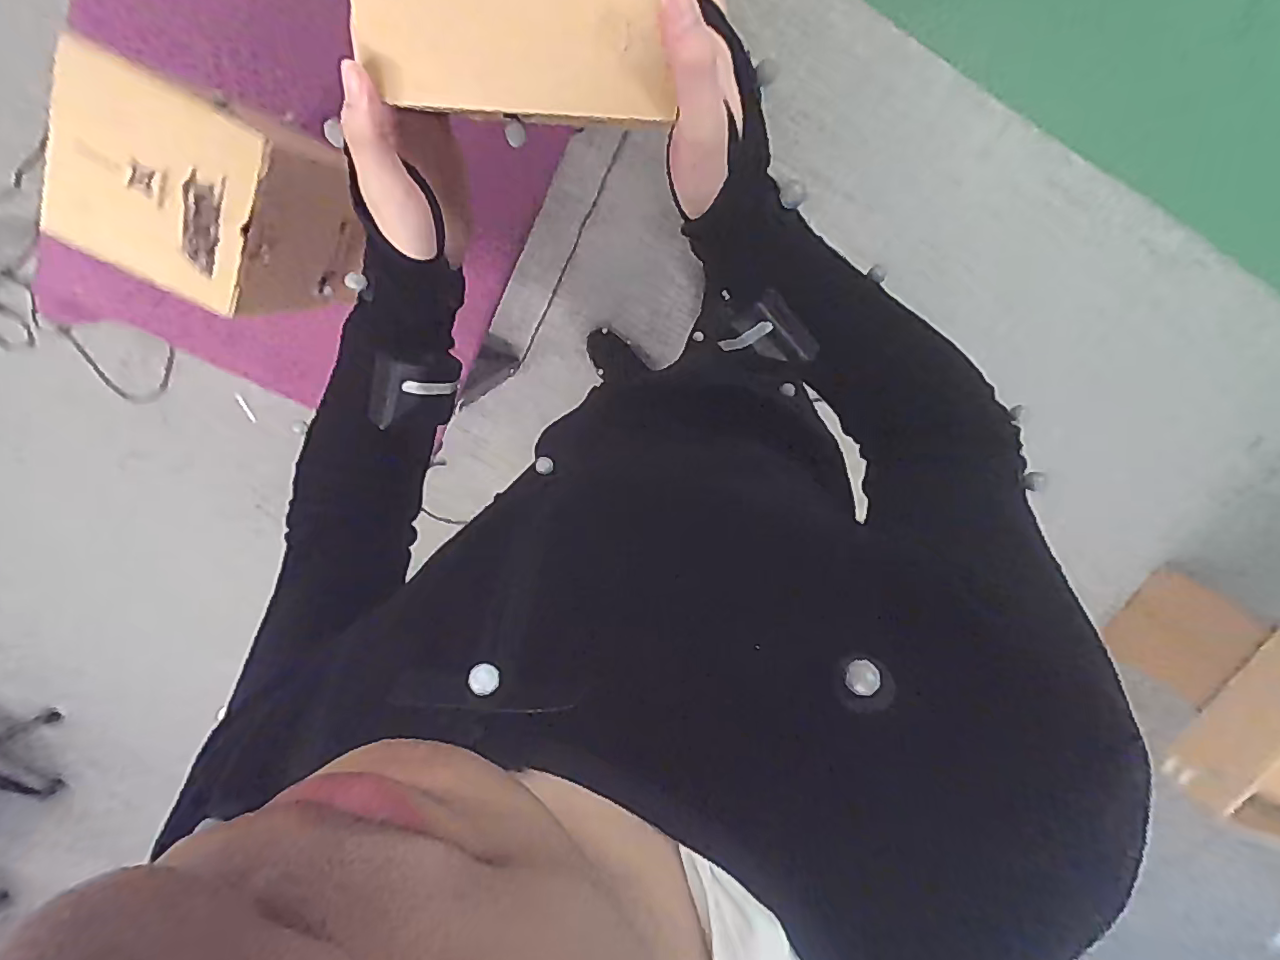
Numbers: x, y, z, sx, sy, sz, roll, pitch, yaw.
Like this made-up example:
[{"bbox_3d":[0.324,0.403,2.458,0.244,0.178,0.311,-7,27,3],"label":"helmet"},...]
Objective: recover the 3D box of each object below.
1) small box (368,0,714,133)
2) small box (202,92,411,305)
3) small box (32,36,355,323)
[{"bbox_3d":[-0.038,-0.302,0.299,0.168,0.176,0.179,6,121,1],"label":"small box"},{"bbox_3d":[-0.429,-0.339,0.690,0.179,0.176,0.168,25,109,-9],"label":"small box"},{"bbox_3d":[-0.422,-0.278,0.538,0.179,0.176,0.168,26,109,-7],"label":"small box"}]
